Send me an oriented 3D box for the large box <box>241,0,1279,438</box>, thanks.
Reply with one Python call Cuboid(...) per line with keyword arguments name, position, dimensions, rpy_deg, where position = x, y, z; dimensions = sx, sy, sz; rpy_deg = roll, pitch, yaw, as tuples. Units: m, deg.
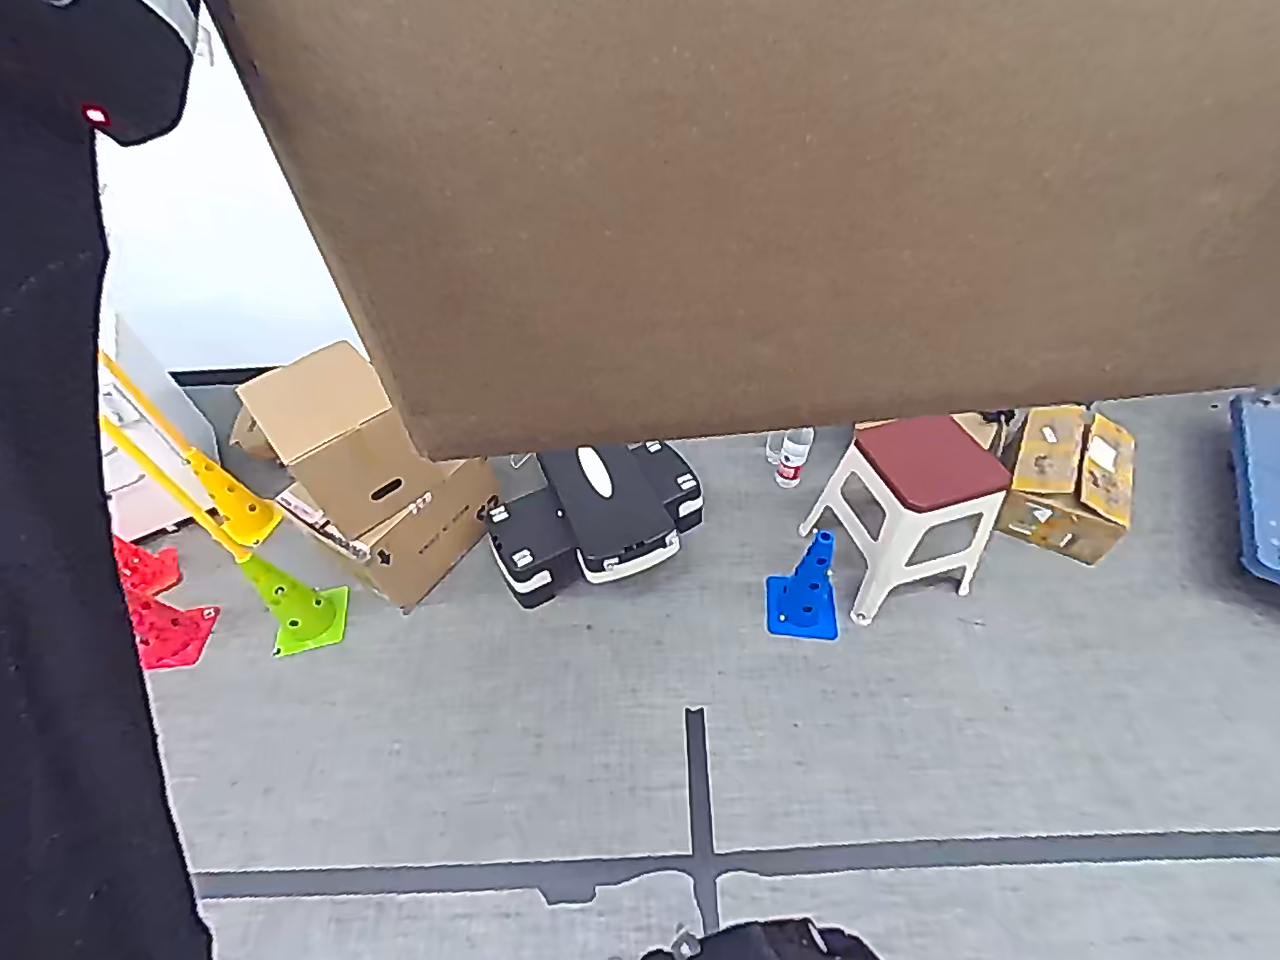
Cuboid(name="large box", position=(0.071, -0.243, 0.274), dimensions=(0.408, 0.320, 0.320), rpy_deg=(-5, 41, 1))
